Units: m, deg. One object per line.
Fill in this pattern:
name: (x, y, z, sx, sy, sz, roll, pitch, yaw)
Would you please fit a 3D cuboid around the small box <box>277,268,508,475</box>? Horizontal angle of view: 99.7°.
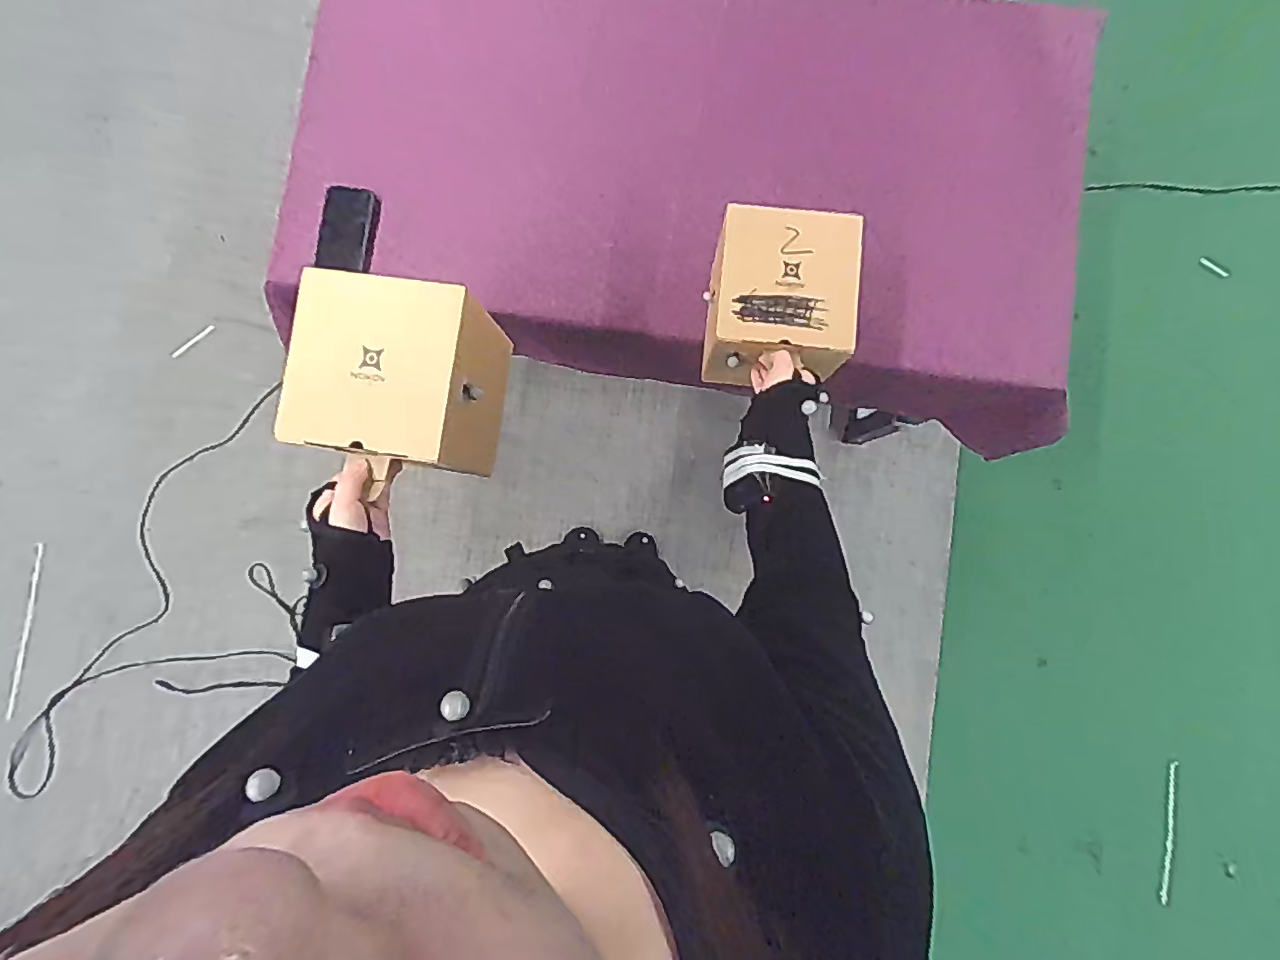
small box: (-0.255, -0.106, 0.602, 0.168, 0.176, 0.179, 8, 87, 2)
